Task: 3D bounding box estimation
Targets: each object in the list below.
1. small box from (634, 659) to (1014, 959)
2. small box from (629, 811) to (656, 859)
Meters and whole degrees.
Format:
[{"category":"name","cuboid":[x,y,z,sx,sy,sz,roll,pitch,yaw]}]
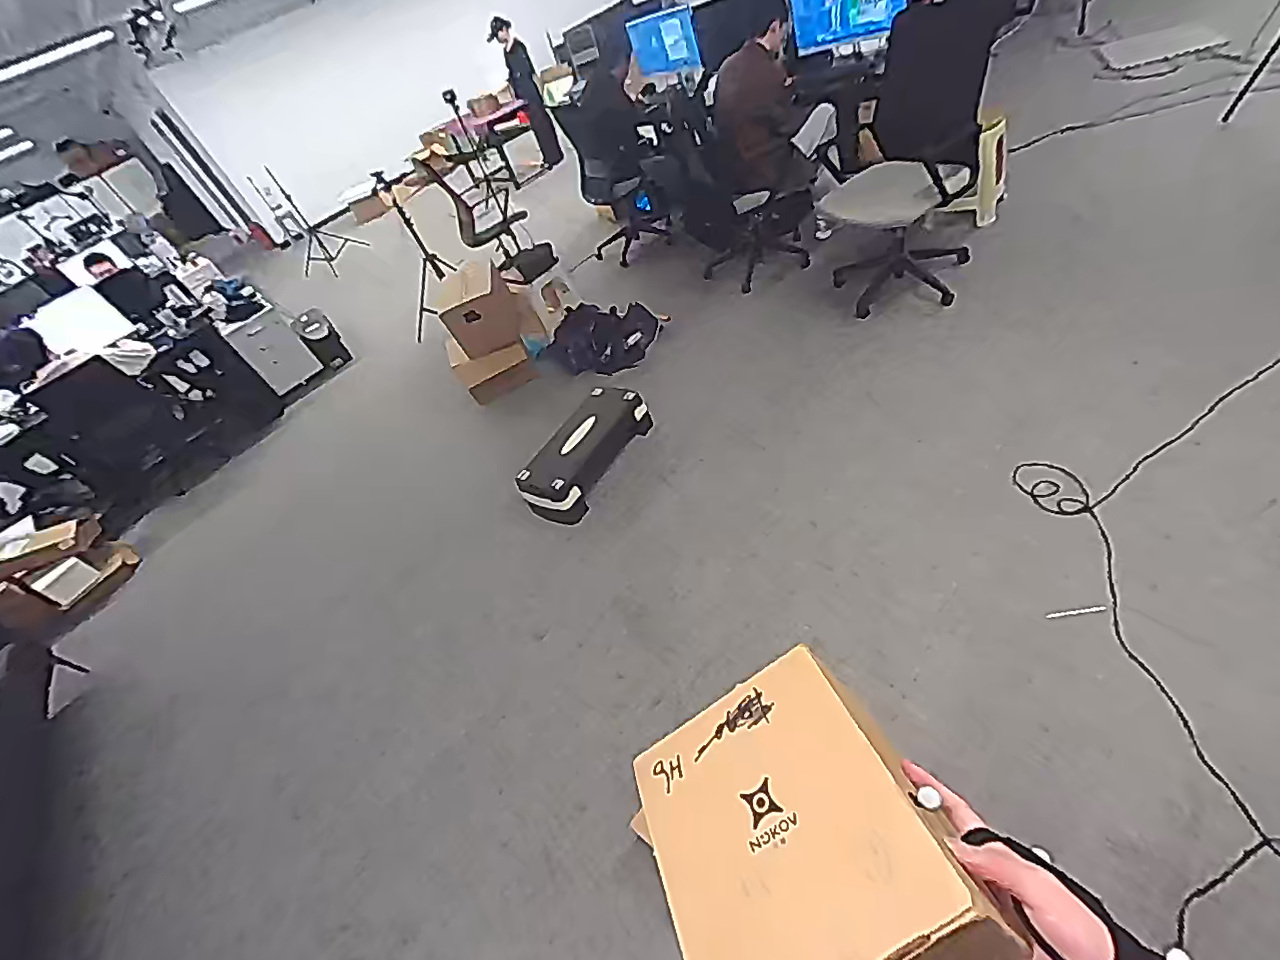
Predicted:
[{"category":"small box","cuboid":[0.127,0.272,0.391,0.168,0.176,0.179,-37,35,6]},{"category":"small box","cuboid":[0.108,0.867,1.321,0.179,0.176,0.168,21,59,38]}]
